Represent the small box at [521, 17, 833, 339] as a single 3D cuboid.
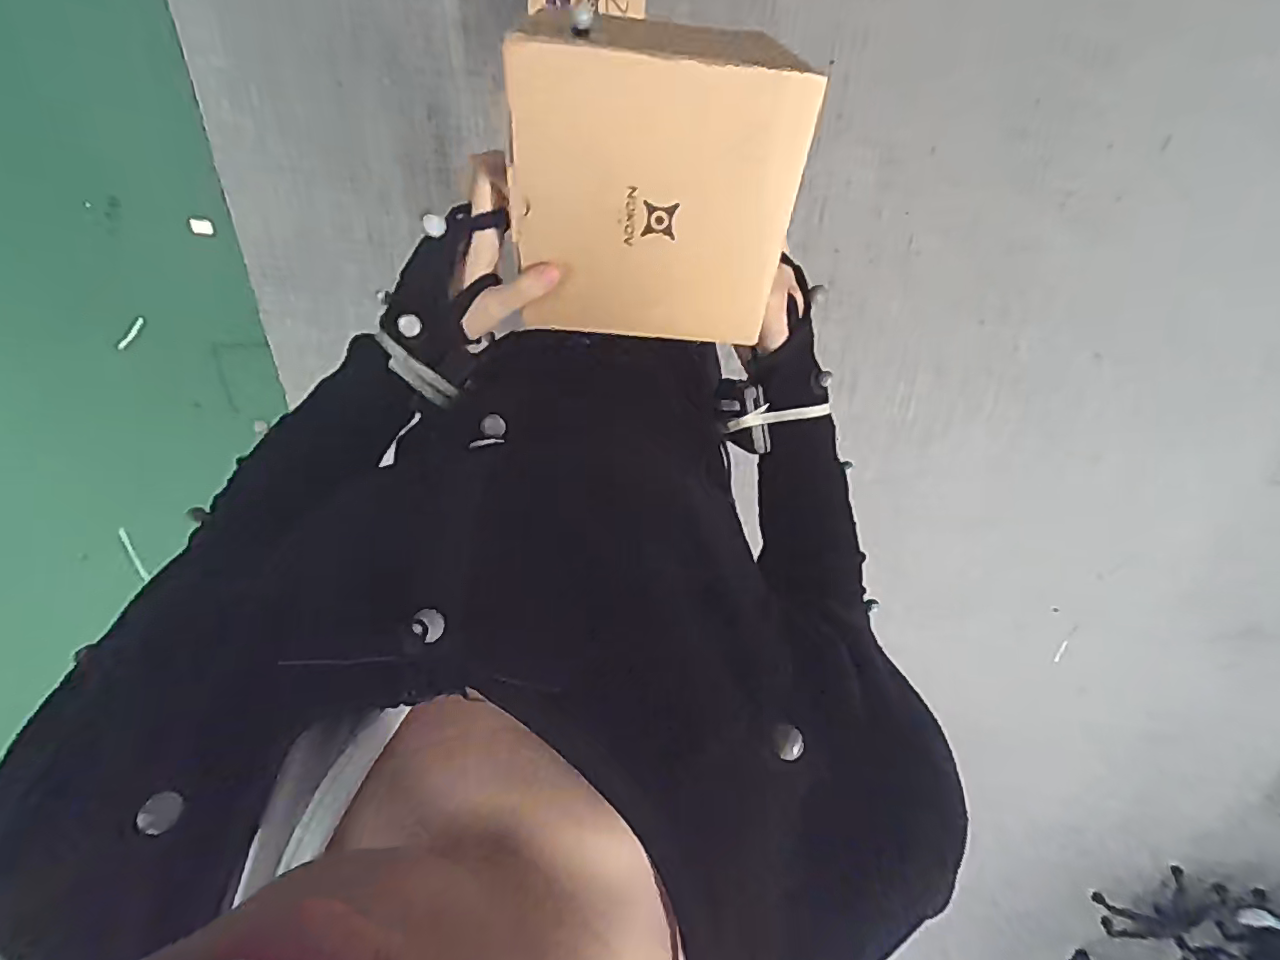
[{"bbox_3d":[0.015,-0.226,0.405,0.179,0.176,0.168,4,135,-3],"label":"small box"}]
